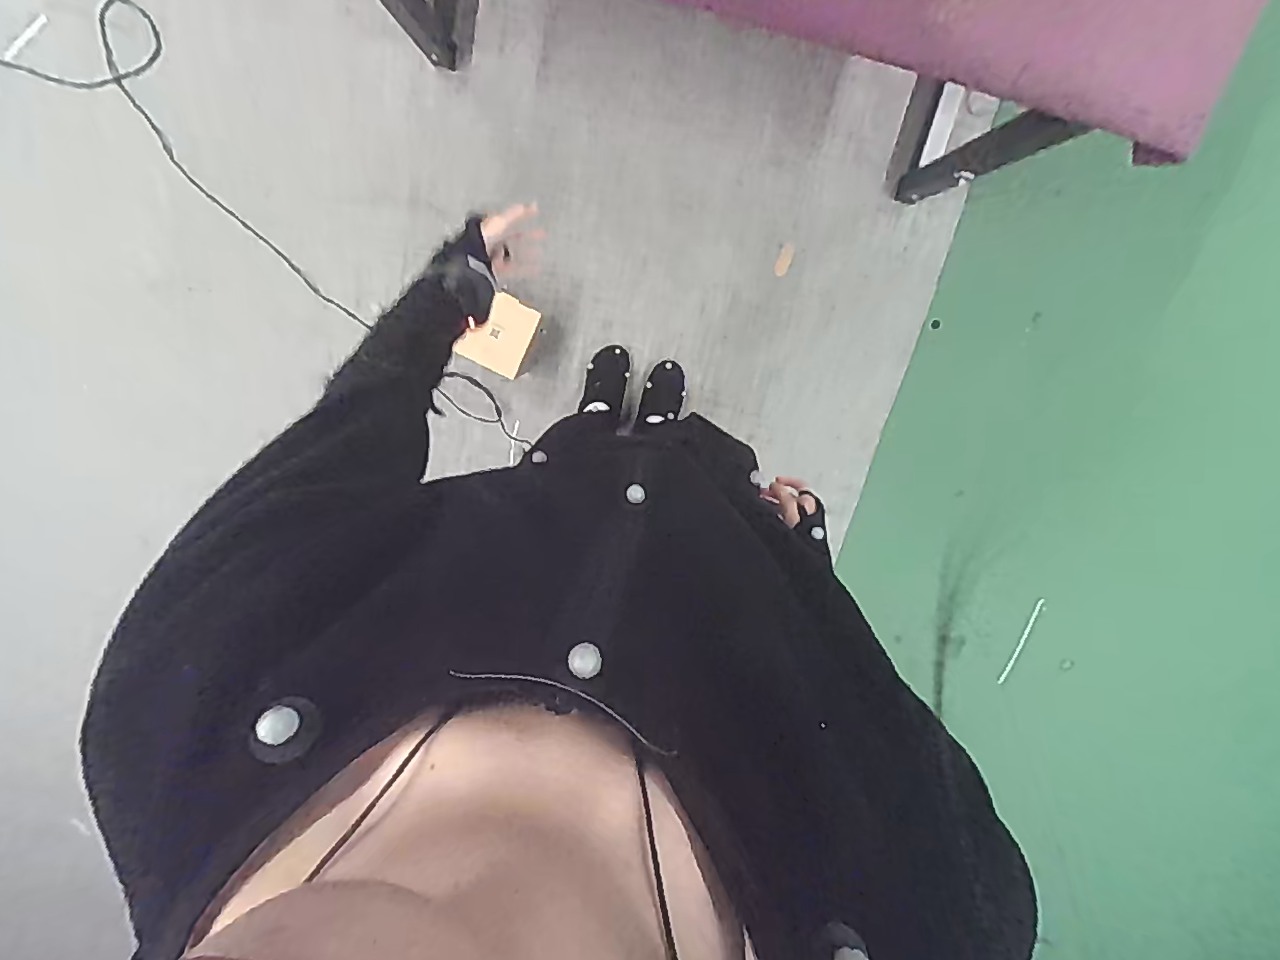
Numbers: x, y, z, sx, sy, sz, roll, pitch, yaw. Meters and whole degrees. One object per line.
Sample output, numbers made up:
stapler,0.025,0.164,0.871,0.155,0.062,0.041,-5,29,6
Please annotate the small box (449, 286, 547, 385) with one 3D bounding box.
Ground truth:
small box,-0.341,-0.358,1.338,0.168,0.176,0.179,26,105,-7
